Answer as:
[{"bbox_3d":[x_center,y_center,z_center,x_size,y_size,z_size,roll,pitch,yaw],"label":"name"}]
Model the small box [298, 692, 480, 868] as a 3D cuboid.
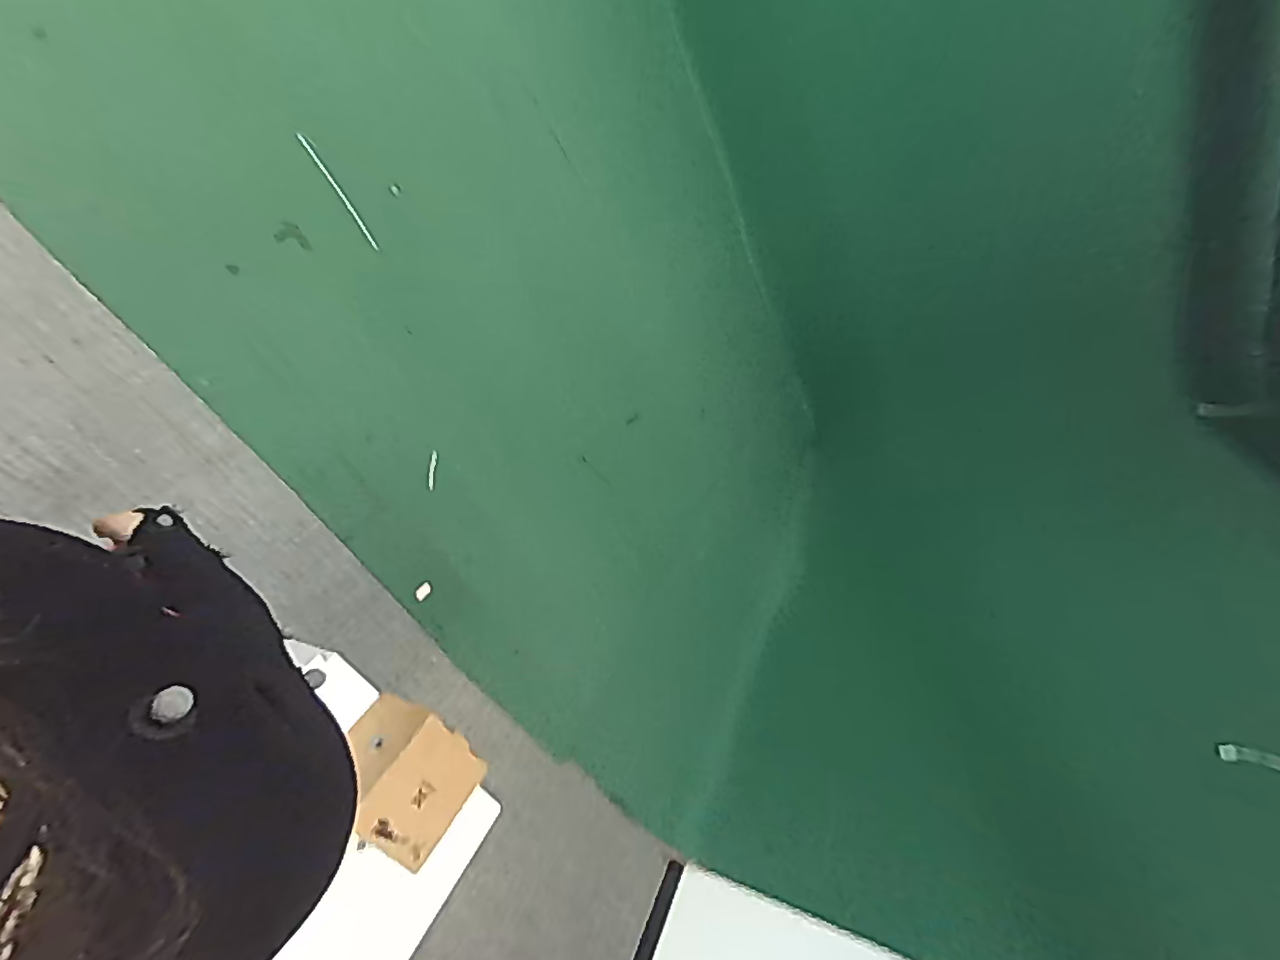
[{"bbox_3d":[-0.406,0.474,0.881,0.179,0.176,0.168,-53,126,-39],"label":"small box"}]
